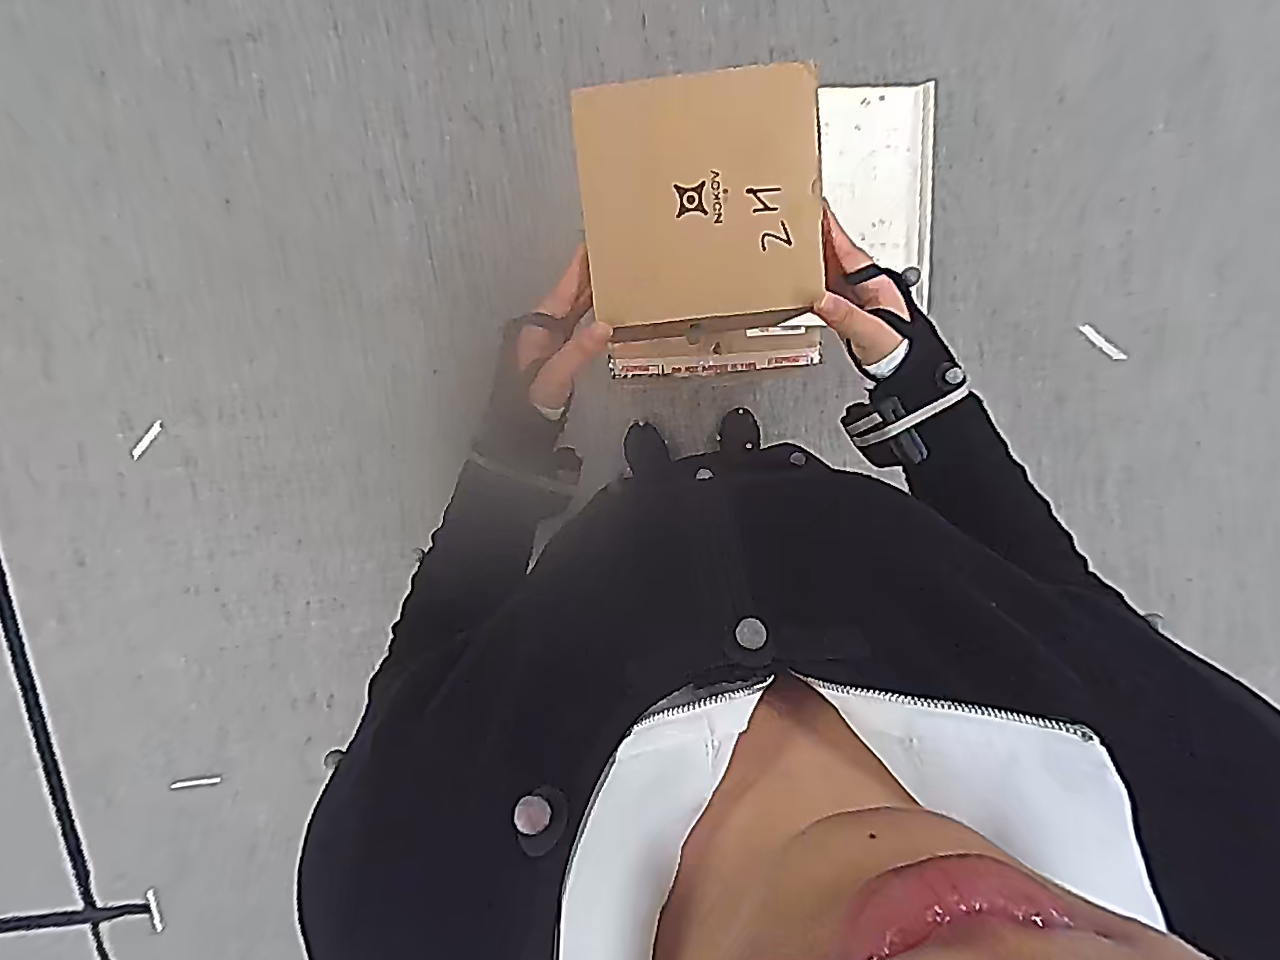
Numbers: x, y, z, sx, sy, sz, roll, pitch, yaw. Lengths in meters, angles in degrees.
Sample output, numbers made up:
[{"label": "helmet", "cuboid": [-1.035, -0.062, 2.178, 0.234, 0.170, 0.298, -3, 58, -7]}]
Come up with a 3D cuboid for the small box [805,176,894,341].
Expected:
[{"label": "small box", "cuboid": [0.226, -0.291, 0.742, 0.168, 0.176, 0.179, -2, 98, -2]}]

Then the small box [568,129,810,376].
[{"label": "small box", "cuboid": [0.040, -0.183, 0.486, 0.179, 0.176, 0.168, -5, 101, 1]}]
